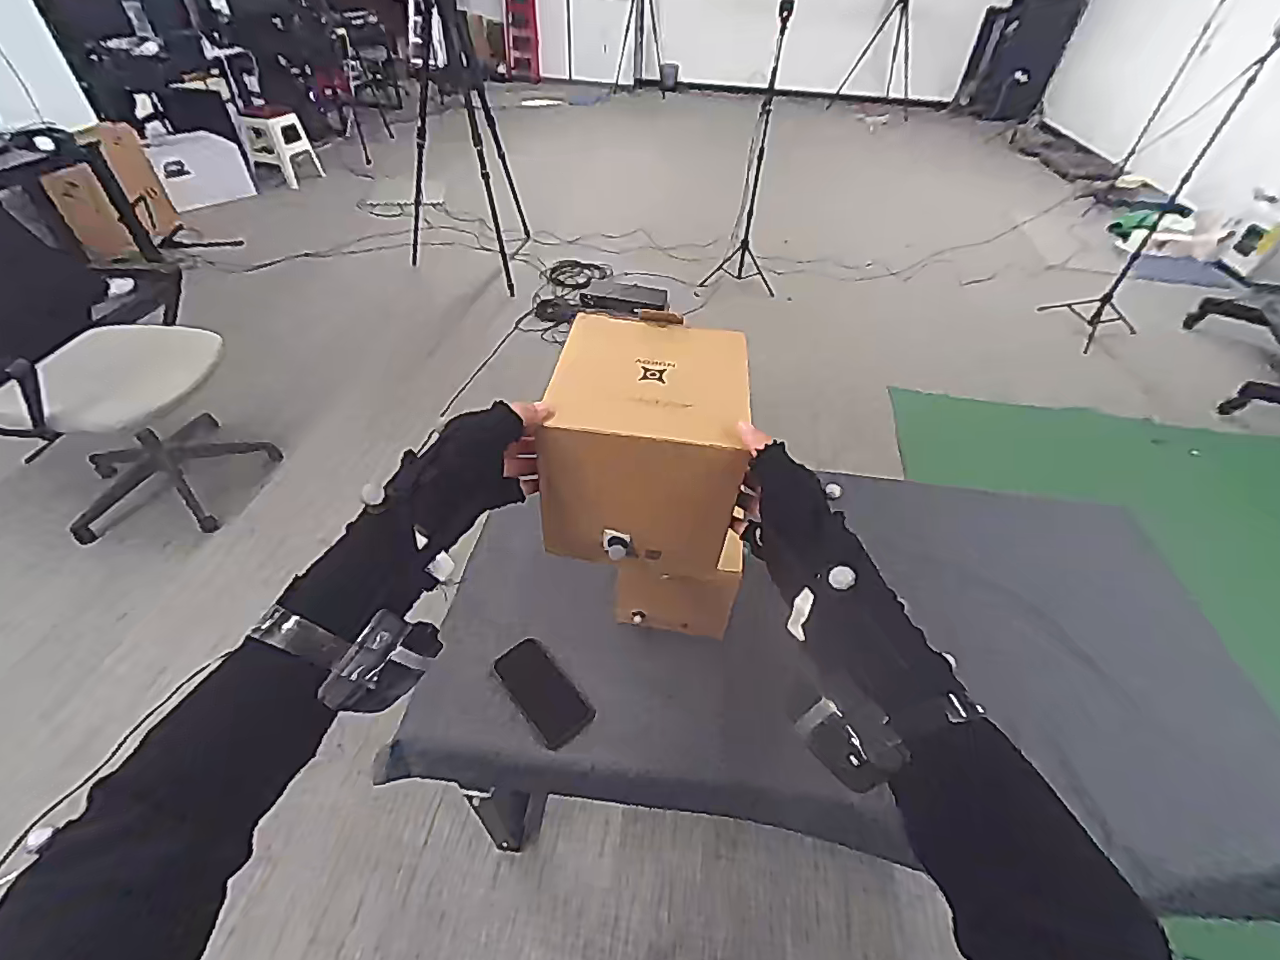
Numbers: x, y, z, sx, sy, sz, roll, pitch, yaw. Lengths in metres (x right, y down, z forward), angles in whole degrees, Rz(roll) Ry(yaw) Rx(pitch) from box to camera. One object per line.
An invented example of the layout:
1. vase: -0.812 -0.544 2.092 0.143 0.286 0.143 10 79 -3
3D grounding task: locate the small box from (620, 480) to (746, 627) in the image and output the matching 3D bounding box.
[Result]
1. small box: 0.065 0.104 0.835 0.168 0.176 0.179 9 44 5

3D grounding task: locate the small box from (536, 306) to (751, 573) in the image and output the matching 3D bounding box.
1. small box: 0.006 -0.038 0.515 0.168 0.176 0.179 7 47 2
